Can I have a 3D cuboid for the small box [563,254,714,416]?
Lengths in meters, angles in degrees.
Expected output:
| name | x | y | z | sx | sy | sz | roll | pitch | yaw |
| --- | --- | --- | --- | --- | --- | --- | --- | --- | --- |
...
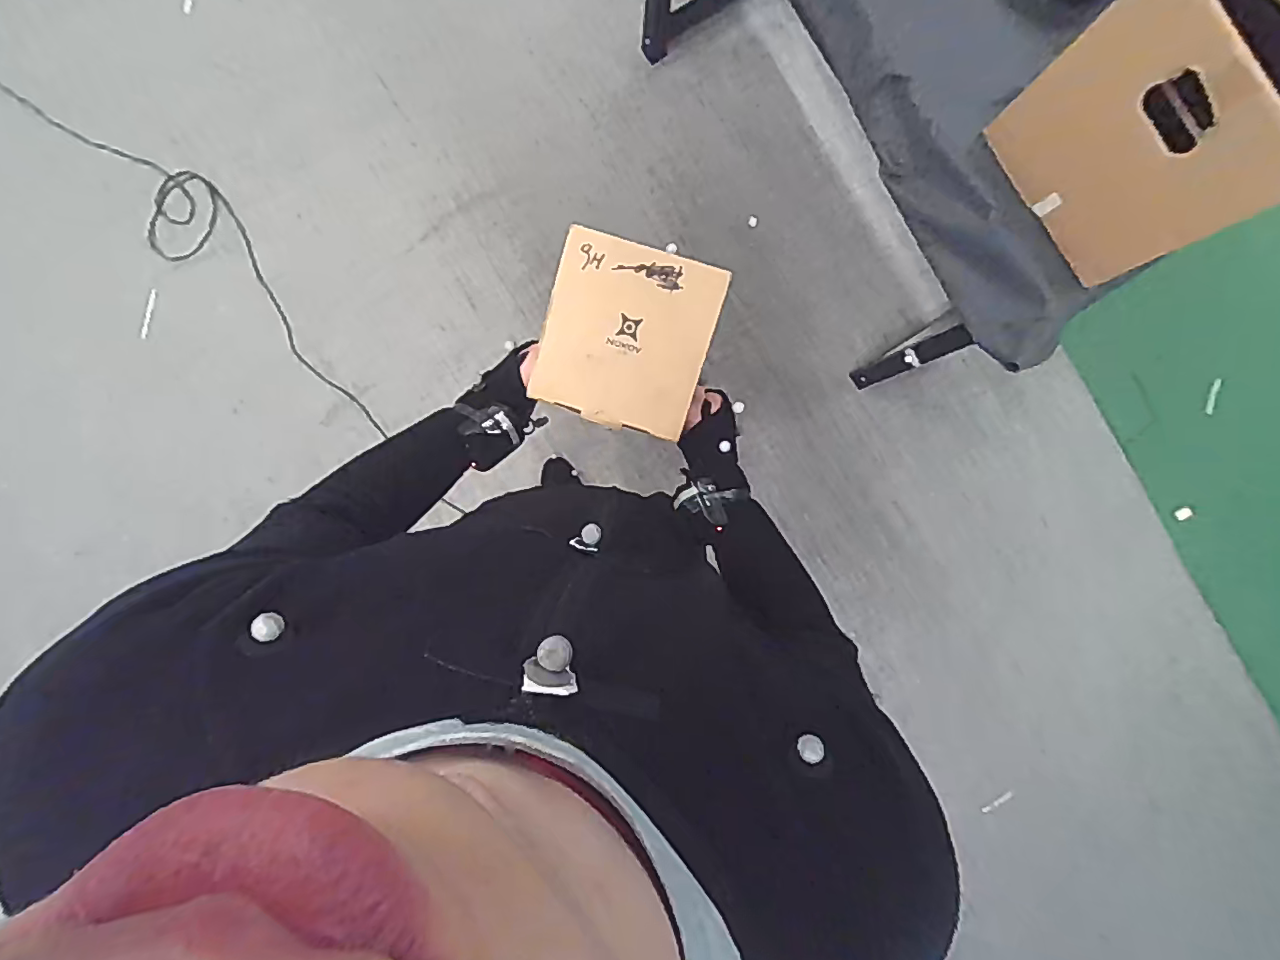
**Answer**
| name | x | y | z | sx | sy | sz | roll | pitch | yaw |
| --- | --- | --- | --- | --- | --- | --- | --- | --- | --- |
| small box | 0.002 | -0.198 | 0.781 | 0.168 | 0.176 | 0.179 | 15 | 98 | 1 |
